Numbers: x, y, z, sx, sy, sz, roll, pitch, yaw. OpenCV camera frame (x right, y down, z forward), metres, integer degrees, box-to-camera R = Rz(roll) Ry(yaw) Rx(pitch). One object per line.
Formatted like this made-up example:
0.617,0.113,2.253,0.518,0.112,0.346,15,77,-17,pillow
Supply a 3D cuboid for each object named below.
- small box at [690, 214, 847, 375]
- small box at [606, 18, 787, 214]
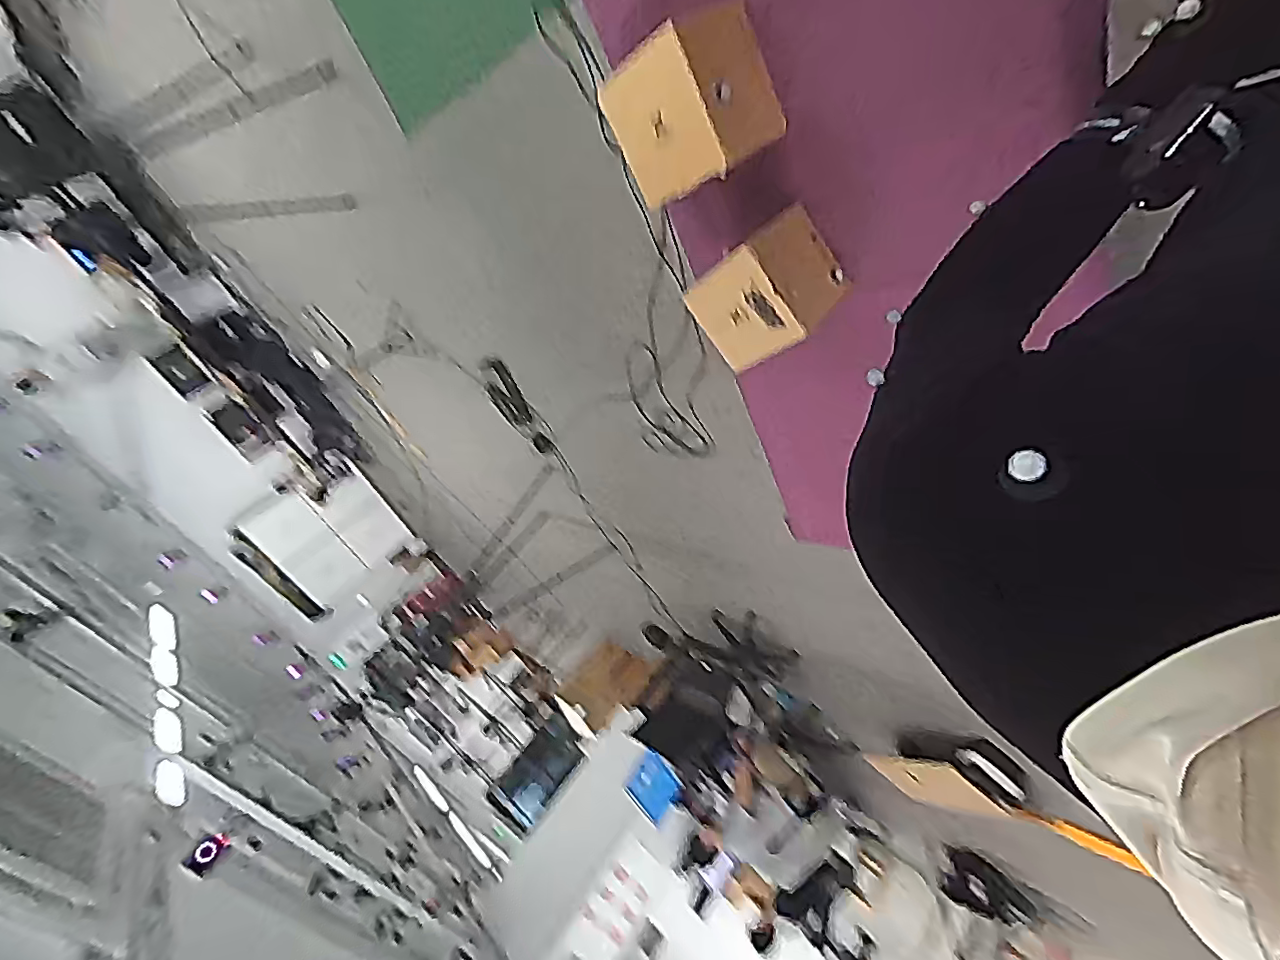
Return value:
0.226,-0.315,0.927,0.168,0.176,0.179,51,152,-11,small box
0.088,-0.542,0.808,0.168,0.176,0.179,1,131,52,small box
